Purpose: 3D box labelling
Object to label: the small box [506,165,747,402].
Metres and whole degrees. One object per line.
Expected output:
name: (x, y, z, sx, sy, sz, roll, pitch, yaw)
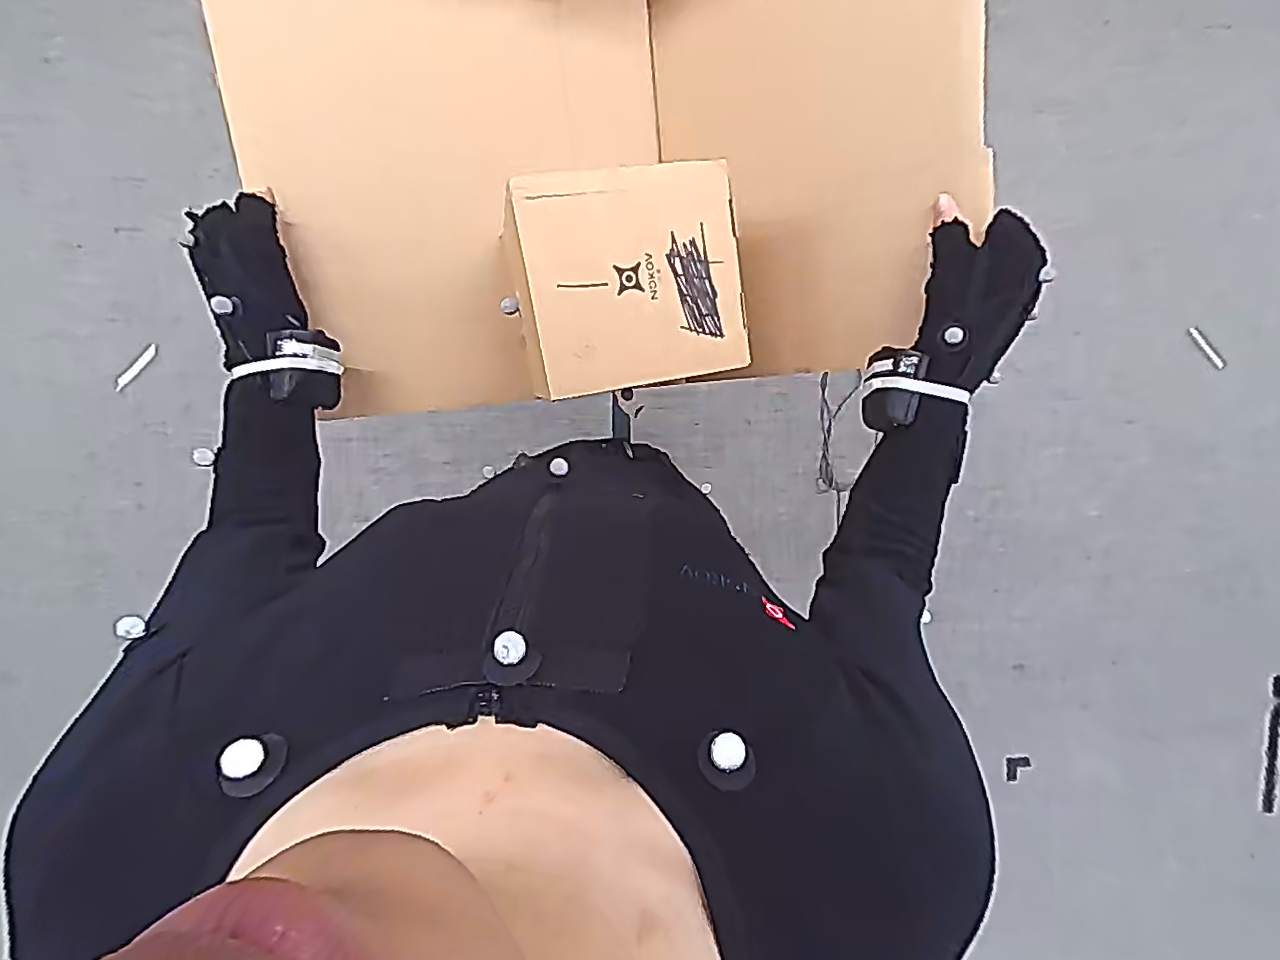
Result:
small box: (-0.022, -0.172, 0.507, 0.179, 0.176, 0.168, -12, 103, -12)
